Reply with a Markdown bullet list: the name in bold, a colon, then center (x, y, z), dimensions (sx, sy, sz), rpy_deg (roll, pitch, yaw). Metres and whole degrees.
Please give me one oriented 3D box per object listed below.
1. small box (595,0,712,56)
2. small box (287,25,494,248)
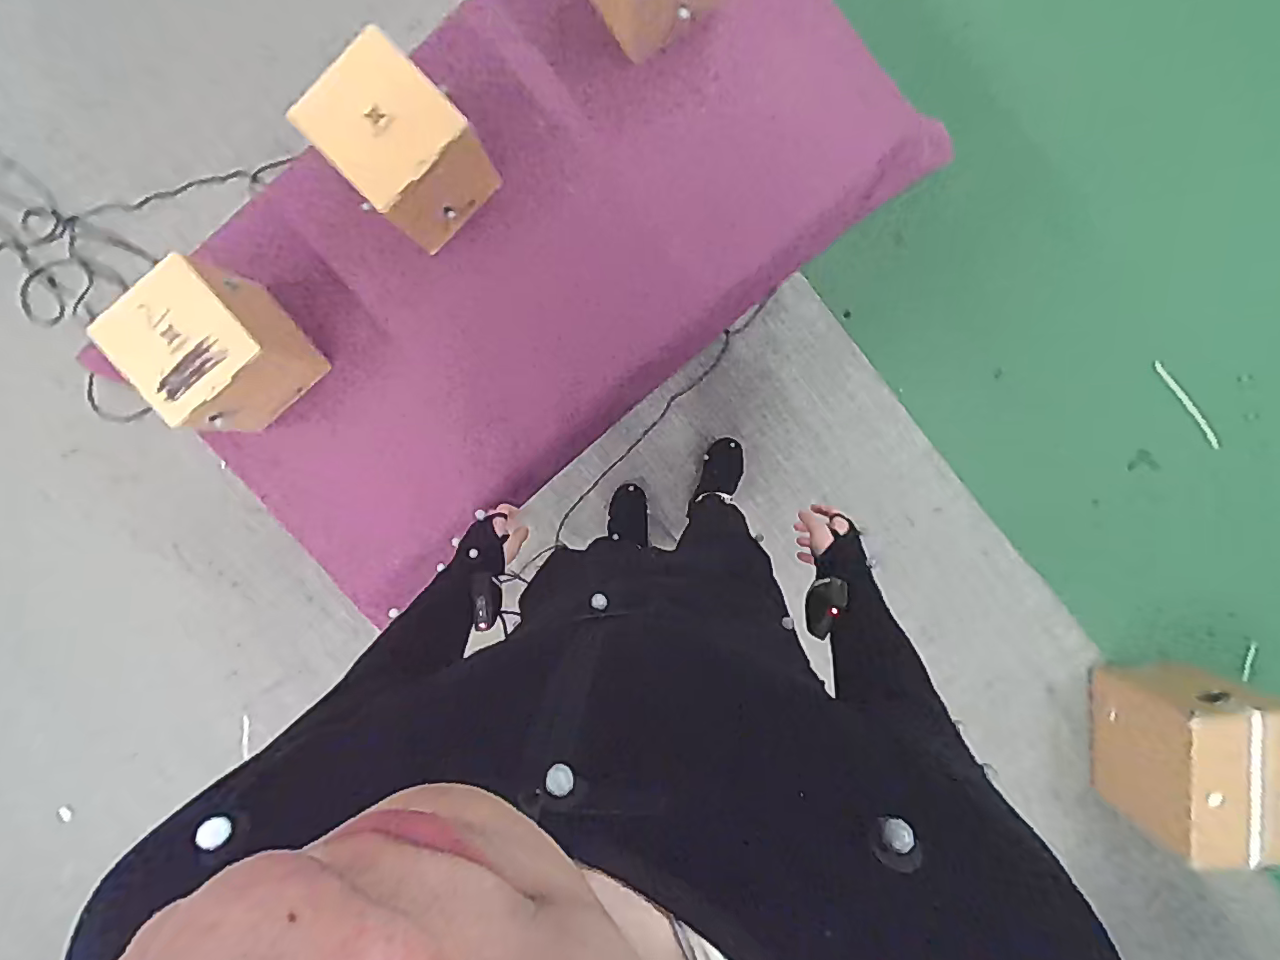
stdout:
- **small box**: center (0.004, -0.763, 0.755), dimensions (0.168, 0.176, 0.179), rpy_deg (-34, 94, 3)
- **small box**: center (-0.343, -0.473, 0.779), dimensions (0.179, 0.176, 0.168), rpy_deg (45, 93, -4)
